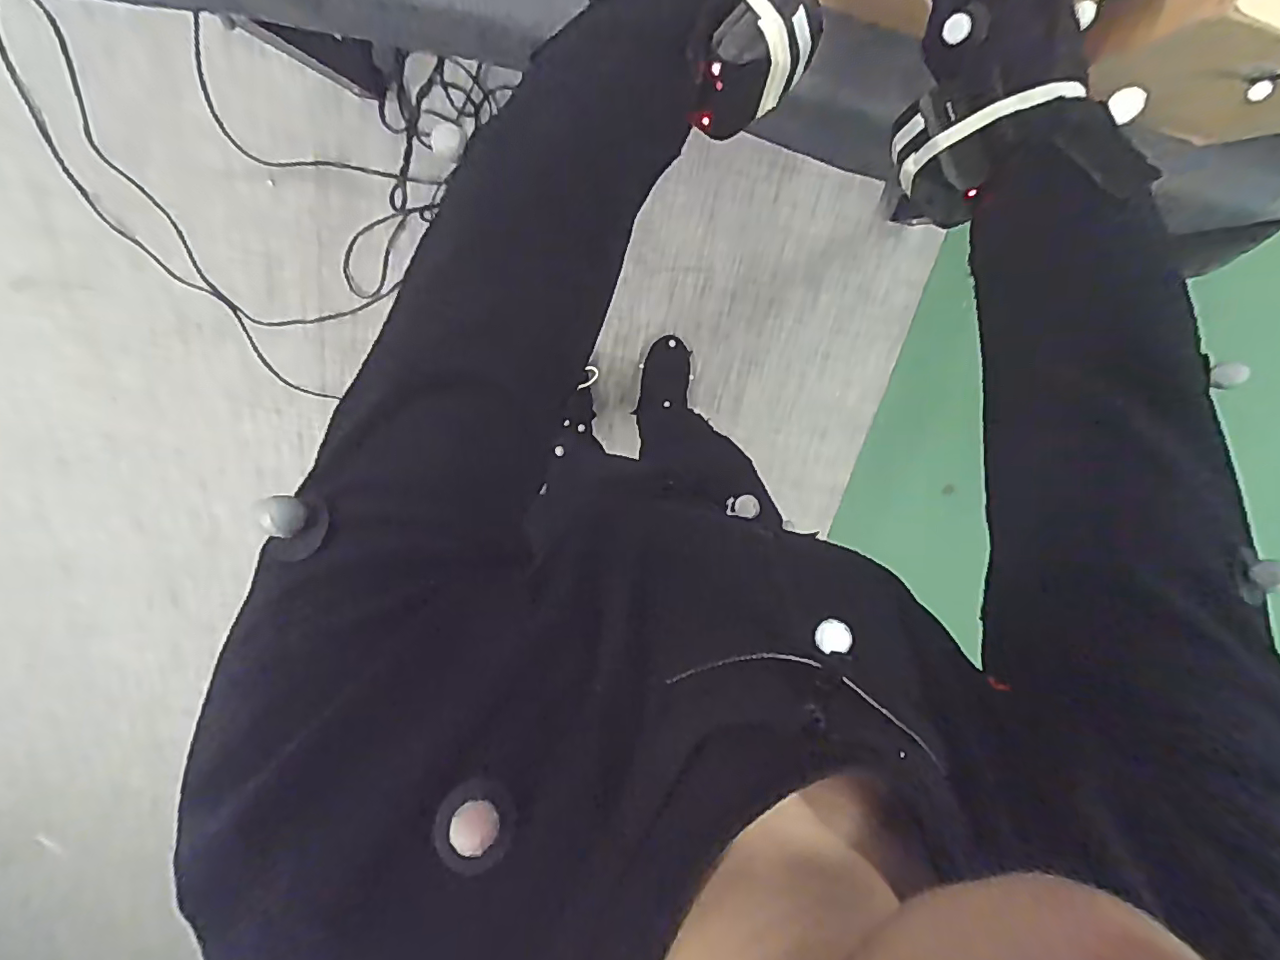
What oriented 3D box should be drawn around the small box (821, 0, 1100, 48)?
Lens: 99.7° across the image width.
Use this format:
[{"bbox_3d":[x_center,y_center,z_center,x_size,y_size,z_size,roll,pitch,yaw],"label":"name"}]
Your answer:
[{"bbox_3d":[0.235,-0.417,0.347,0.179,0.176,0.168,13,112,-7],"label":"small box"}]
